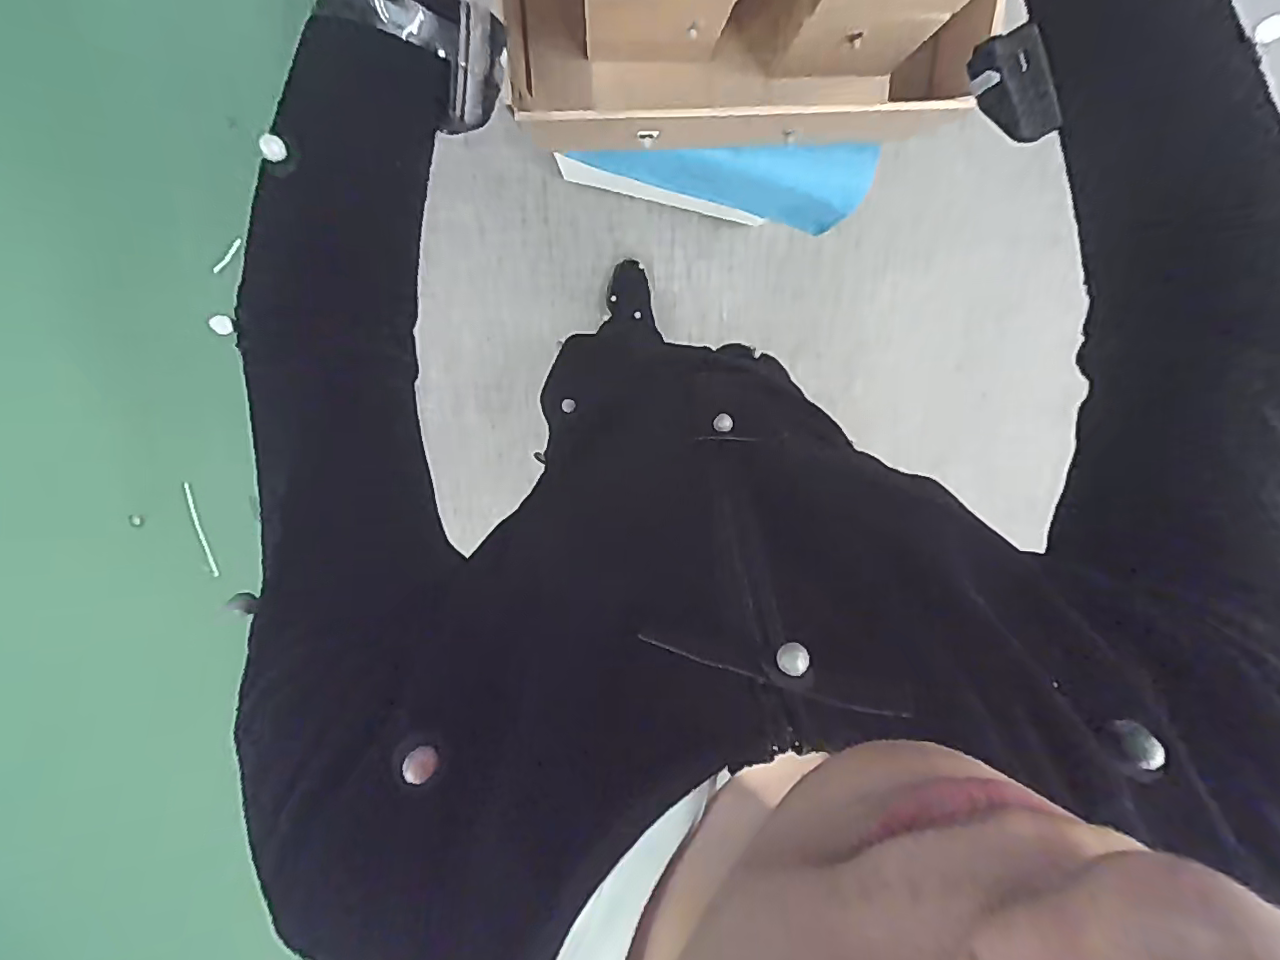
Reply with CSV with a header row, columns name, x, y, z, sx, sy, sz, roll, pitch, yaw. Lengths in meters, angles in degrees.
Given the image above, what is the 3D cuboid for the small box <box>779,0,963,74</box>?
name,x,y,z,sx,sy,sz,roll,pitch,yaw
small box,0.280,-0.633,0.672,0.179,0.176,0.168,-1,107,0

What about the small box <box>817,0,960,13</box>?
name,x,y,z,sx,sy,sz,roll,pitch,yaw
small box,0.285,-0.586,0.515,0.179,0.176,0.168,-2,107,1
